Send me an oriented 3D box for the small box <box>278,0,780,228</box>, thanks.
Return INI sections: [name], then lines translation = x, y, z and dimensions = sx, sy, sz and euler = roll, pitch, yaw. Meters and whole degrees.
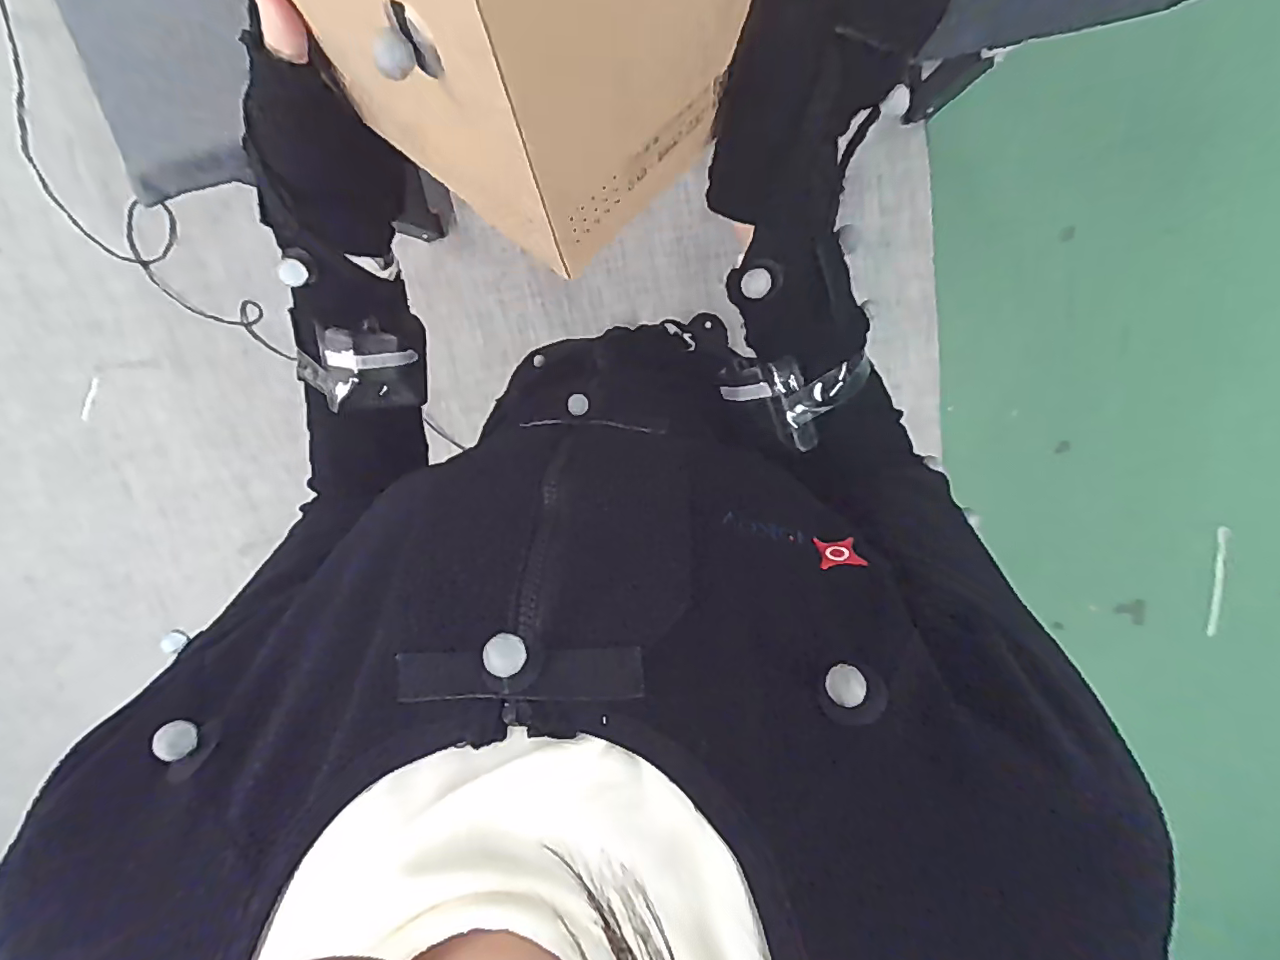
[small box]
translation = -0.050, -0.232, 0.200
dimensions = 0.179, 0.176, 0.168
euler = 40, 81, 13
